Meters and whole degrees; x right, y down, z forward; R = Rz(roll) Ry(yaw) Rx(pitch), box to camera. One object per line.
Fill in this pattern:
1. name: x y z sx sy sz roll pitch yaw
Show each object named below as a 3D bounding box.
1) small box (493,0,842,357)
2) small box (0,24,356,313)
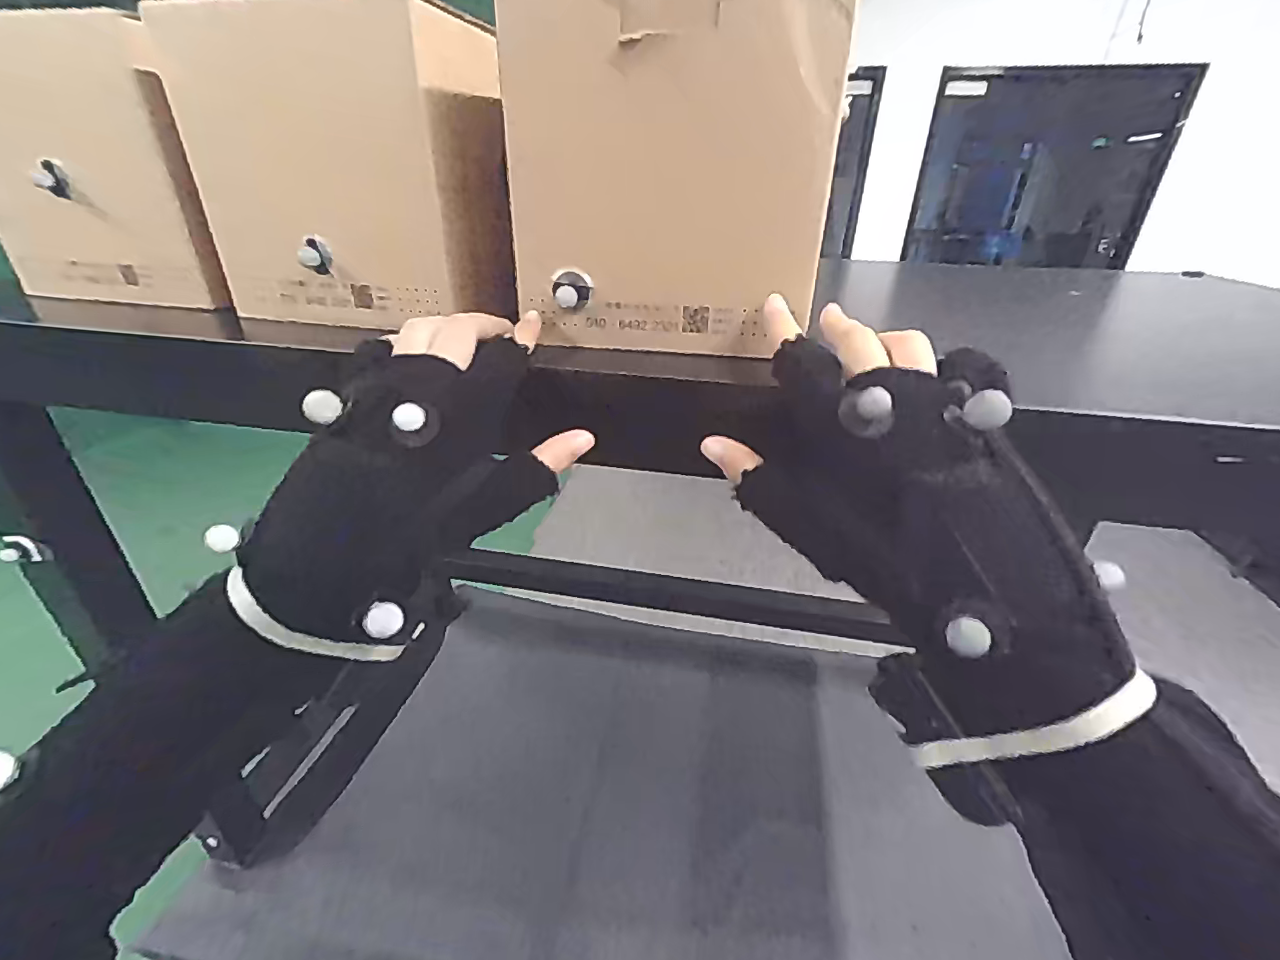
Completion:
1. small box: 0.023 -0.184 0.354 0.168 0.176 0.179 5 27 8
2. small box: -0.363 -0.237 0.437 0.168 0.176 0.179 8 28 9
